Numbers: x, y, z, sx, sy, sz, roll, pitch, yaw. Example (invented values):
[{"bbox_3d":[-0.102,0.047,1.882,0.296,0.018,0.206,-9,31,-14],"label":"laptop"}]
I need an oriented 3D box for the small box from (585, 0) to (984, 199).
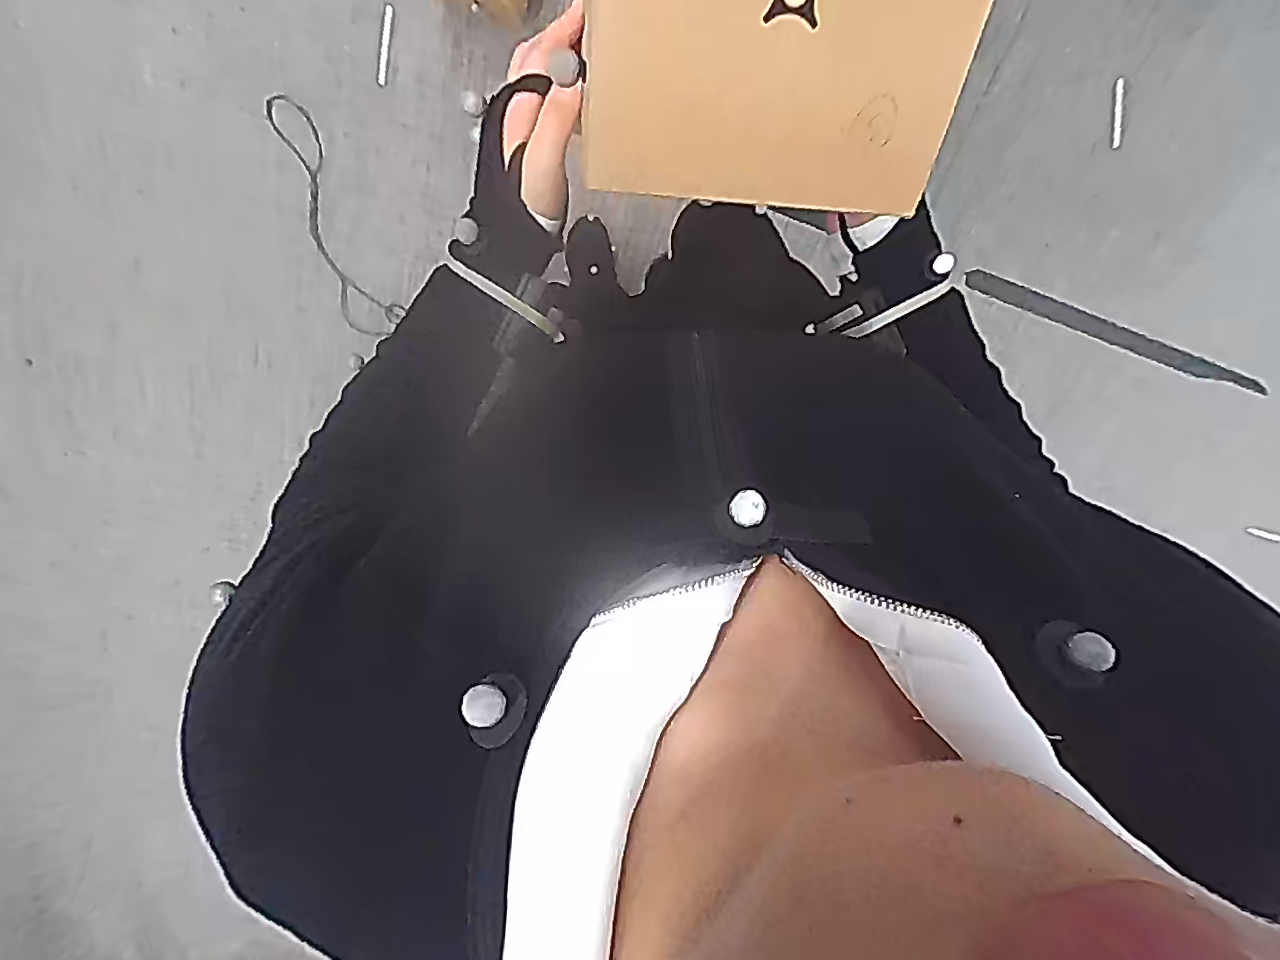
[{"bbox_3d":[0.058,-0.261,0.274,0.168,0.176,0.179,1,126,-8],"label":"small box"}]

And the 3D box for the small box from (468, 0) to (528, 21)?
[{"bbox_3d":[-0.286,-0.991,0.991,0.168,0.176,0.179,15,116,-11],"label":"small box"}]
